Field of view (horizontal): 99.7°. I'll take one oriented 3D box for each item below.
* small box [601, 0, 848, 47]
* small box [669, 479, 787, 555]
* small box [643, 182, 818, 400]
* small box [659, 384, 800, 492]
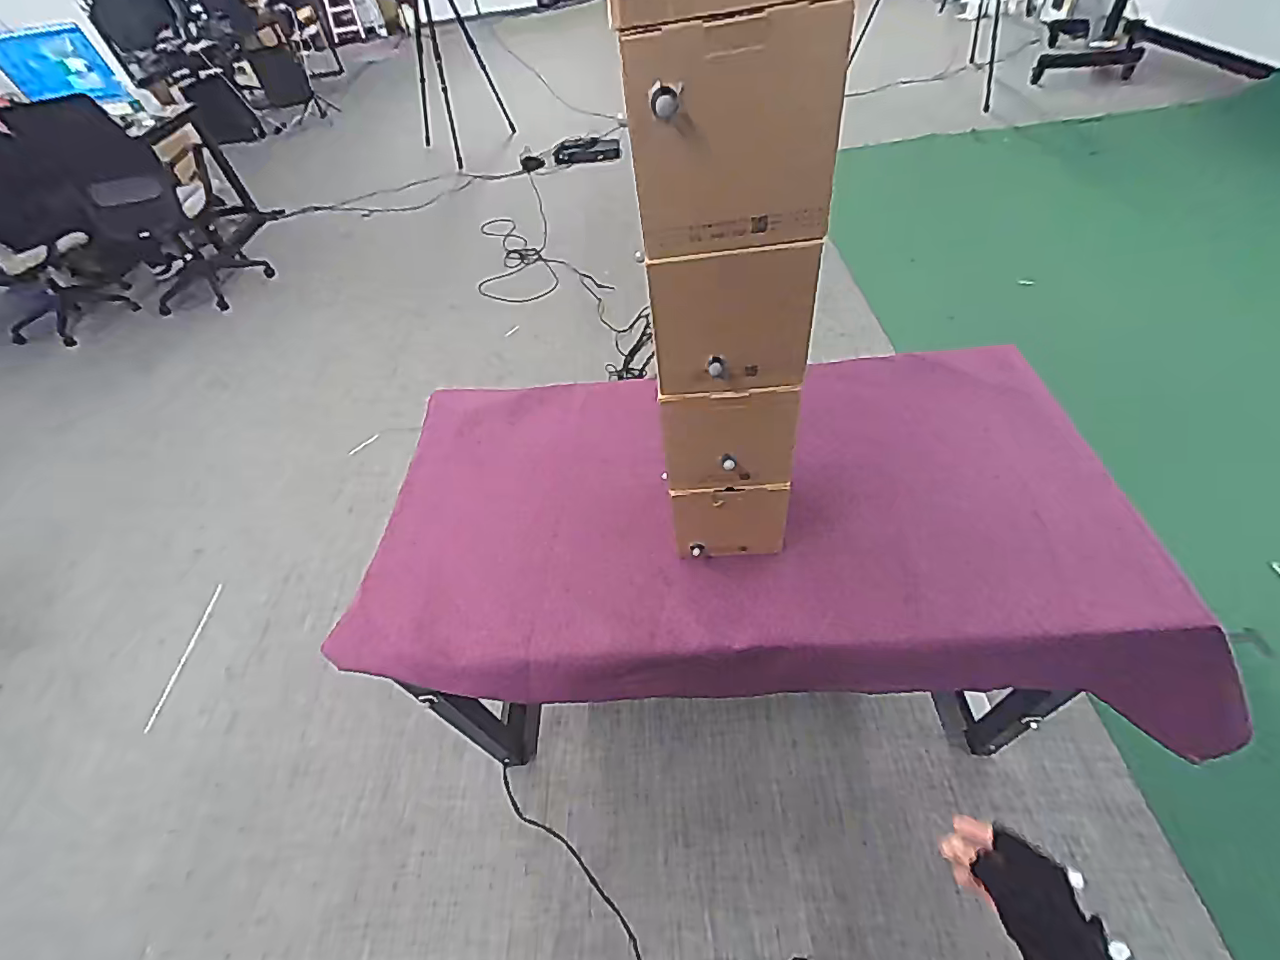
[{"bbox_3d":[0.052,-0.432,0.382,0.179,0.176,0.168,-4,47,6],"label":"small box"},{"bbox_3d":[0.134,0.008,0.857,0.168,0.176,0.179,-3,49,6],"label":"small box"},{"bbox_3d":[0.095,-0.214,0.620,0.168,0.176,0.179,-4,49,6],"label":"small box"},{"bbox_3d":[0.114,-0.105,0.739,0.168,0.176,0.179,-4,49,6],"label":"small box"}]
